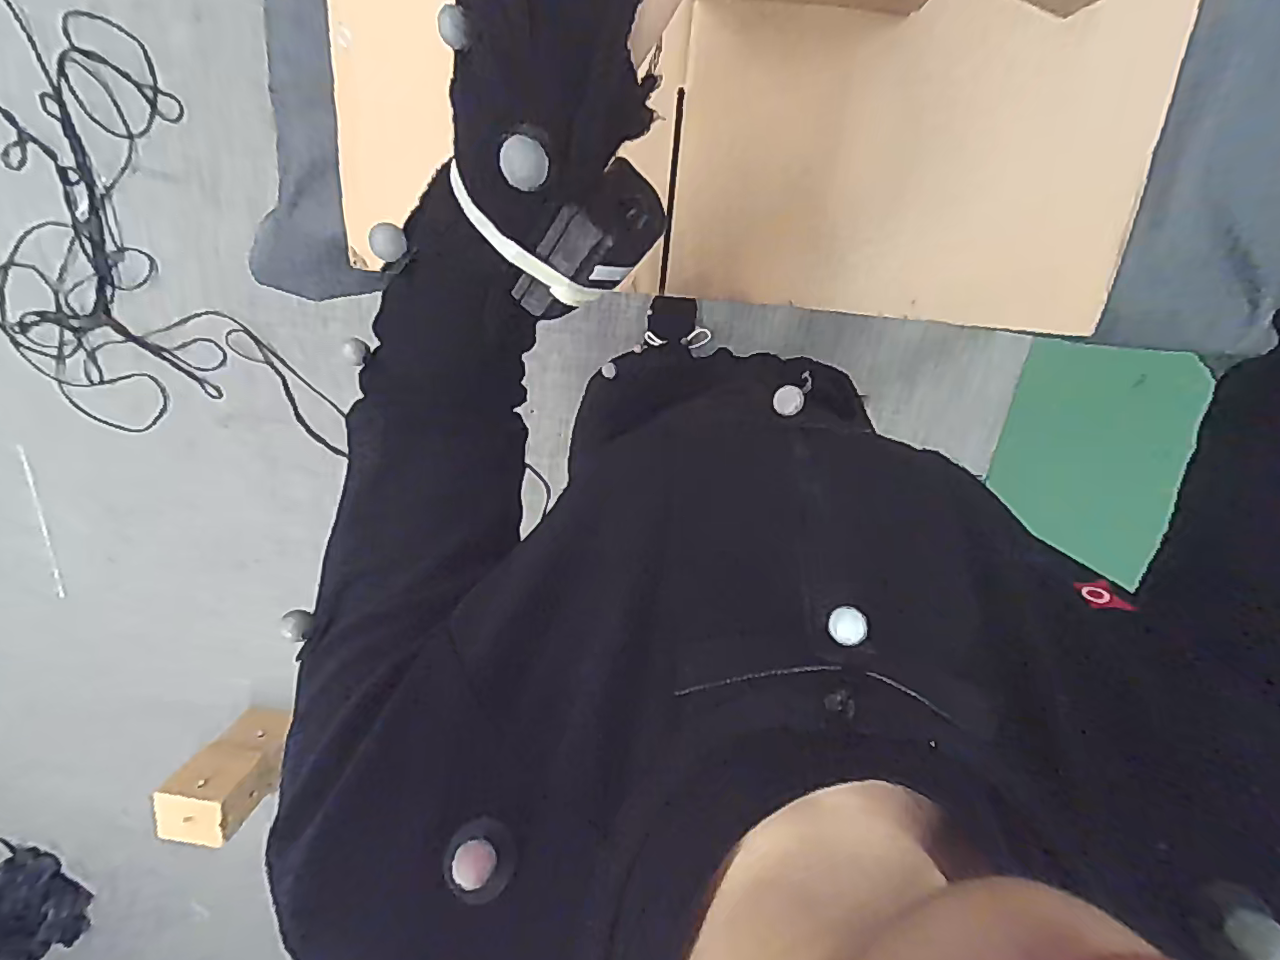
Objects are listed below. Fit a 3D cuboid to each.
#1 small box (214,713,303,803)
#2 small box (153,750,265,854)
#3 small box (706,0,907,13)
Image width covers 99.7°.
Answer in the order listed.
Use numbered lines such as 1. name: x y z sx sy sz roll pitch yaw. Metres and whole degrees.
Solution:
1. small box: -1.151 0.835 1.635 0.179 0.176 0.168 10 108 -2
2. small box: -1.168 0.872 1.476 0.179 0.176 0.168 11 108 -2
3. small box: 0.126 -0.406 0.304 0.179 0.176 0.168 4 105 1
